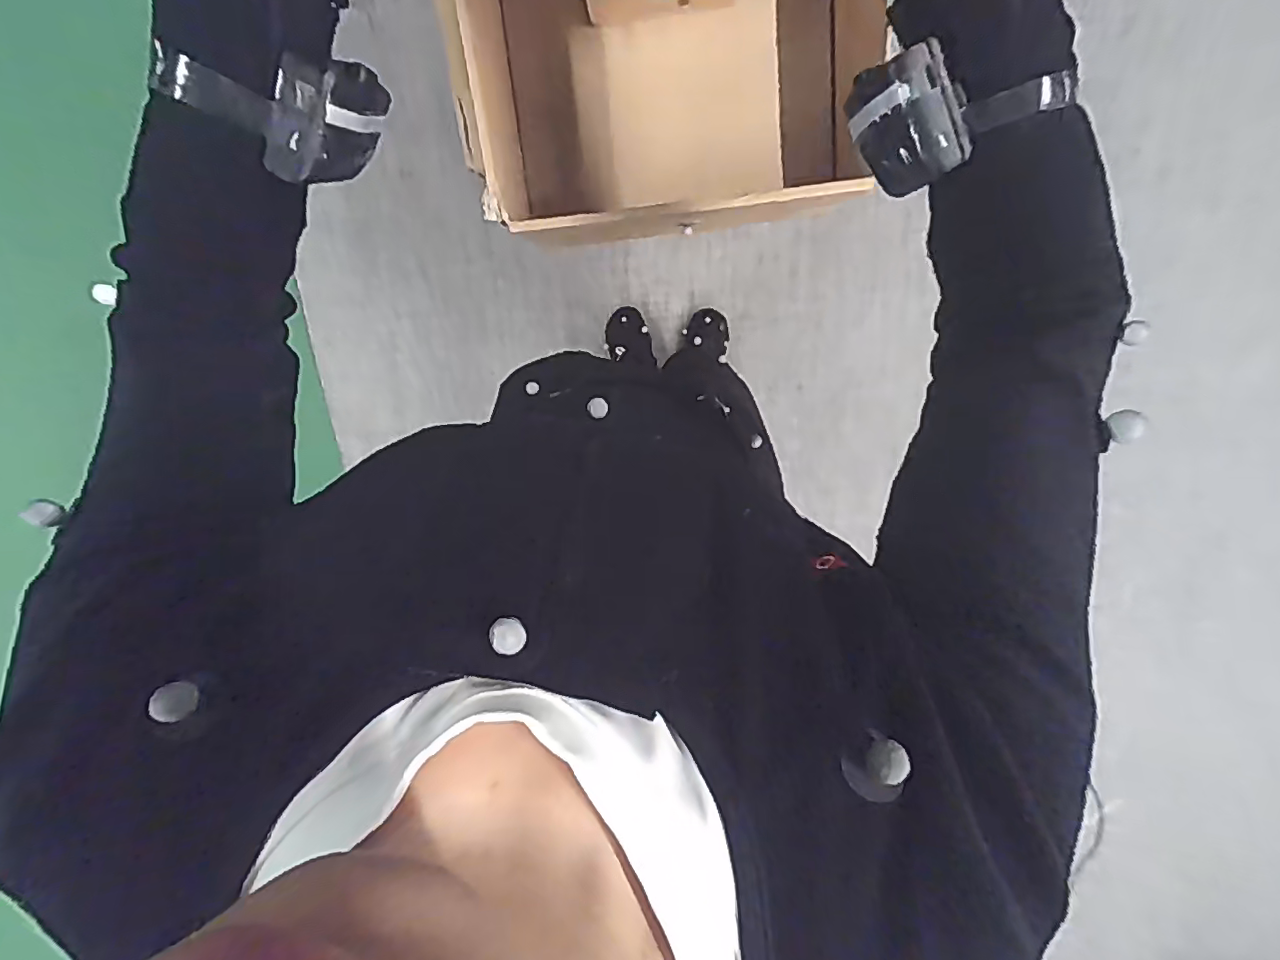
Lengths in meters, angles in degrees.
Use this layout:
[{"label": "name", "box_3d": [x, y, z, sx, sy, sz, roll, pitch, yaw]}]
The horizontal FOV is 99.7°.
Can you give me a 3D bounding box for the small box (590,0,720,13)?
[{"label": "small box", "box_3d": [0.013, -0.579, 0.503, 0.168, 0.176, 0.179, -6, 107, 3]}]
